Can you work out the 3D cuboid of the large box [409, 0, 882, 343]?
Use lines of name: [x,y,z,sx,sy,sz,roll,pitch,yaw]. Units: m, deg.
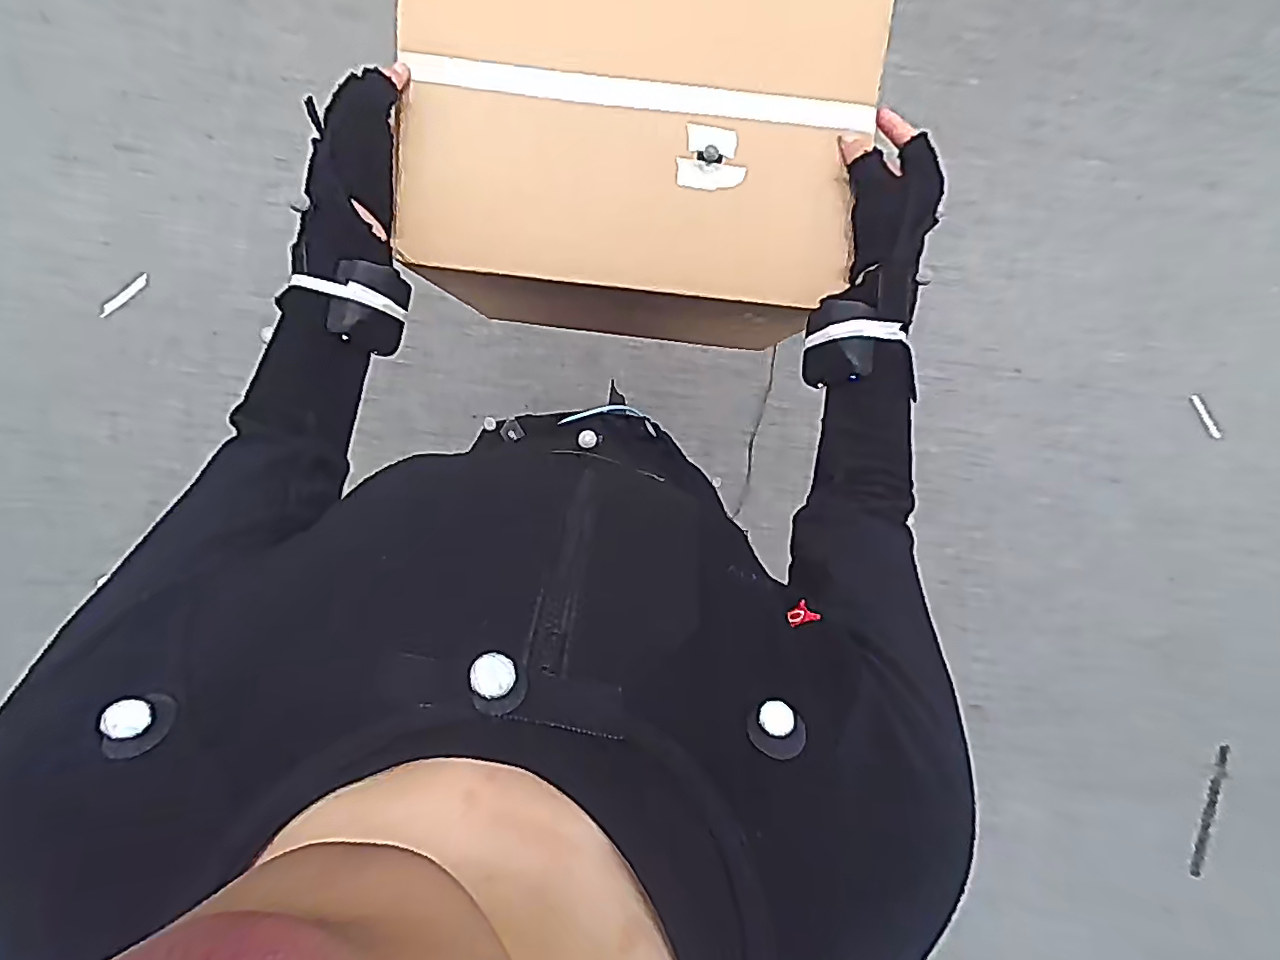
large box: [-0.002,-0.349,0.621,0.408,0.320,0.320,6,98,-2]
